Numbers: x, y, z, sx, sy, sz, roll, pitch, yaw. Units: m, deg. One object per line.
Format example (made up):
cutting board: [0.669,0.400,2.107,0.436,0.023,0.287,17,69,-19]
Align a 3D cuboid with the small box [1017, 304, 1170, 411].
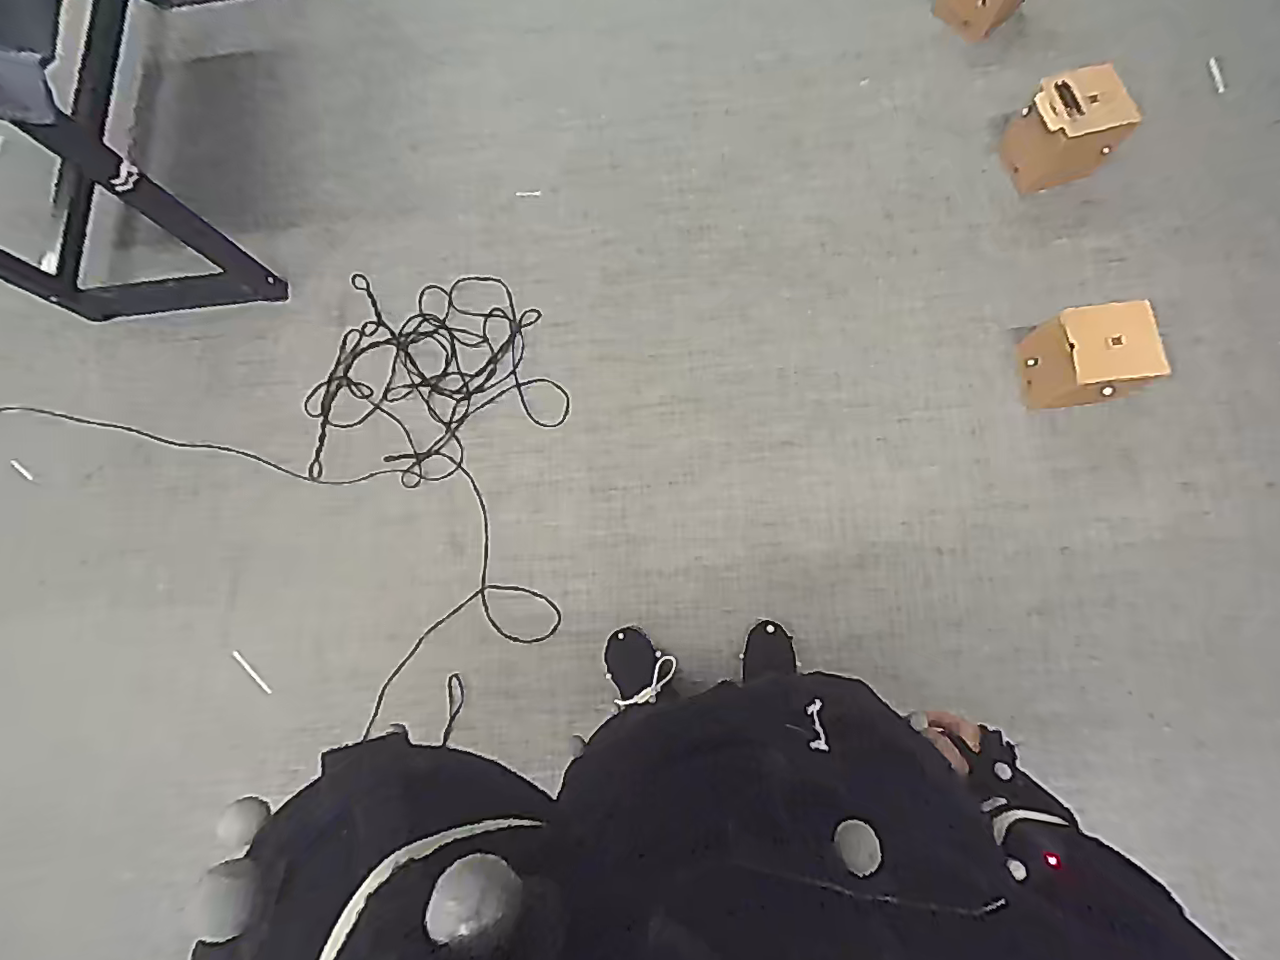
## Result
small box: [0.966,-0.257,1.168,0.179,0.176,0.168,-6,78,4]

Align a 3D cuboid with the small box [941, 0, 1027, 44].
small box: [0.913,-1.286,1.391,0.179,0.176,0.168,-42,79,-5]
